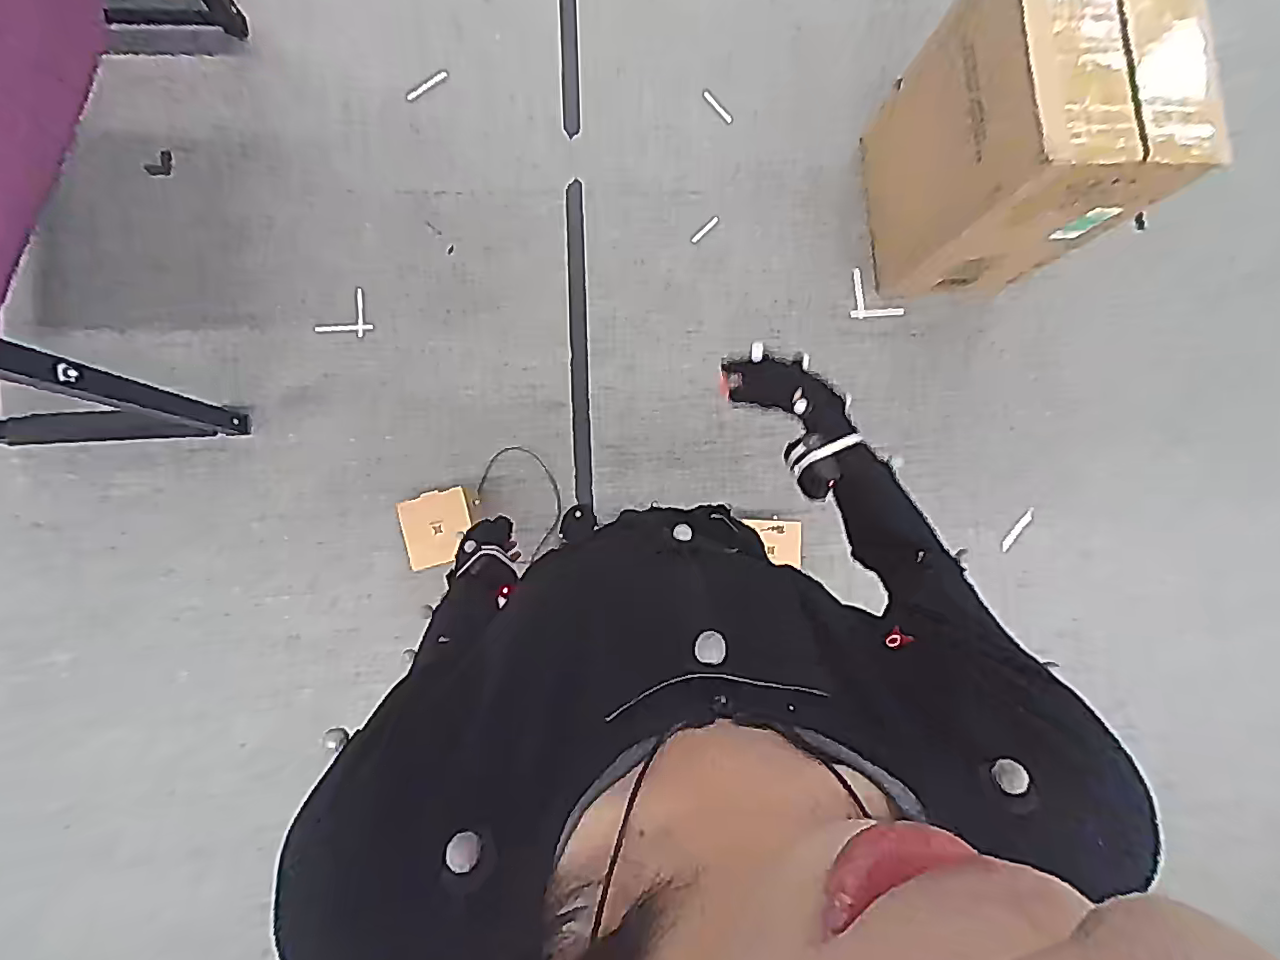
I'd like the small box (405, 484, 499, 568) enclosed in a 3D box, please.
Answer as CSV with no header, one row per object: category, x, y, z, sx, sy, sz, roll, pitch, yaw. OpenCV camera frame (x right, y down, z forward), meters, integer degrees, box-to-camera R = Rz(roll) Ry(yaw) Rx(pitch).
small box,-0.482,0.119,1.408,0.168,0.176,0.179,-16,88,-3

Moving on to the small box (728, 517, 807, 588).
small box,0.343,0.193,1.476,0.168,0.176,0.179,3,86,-5
